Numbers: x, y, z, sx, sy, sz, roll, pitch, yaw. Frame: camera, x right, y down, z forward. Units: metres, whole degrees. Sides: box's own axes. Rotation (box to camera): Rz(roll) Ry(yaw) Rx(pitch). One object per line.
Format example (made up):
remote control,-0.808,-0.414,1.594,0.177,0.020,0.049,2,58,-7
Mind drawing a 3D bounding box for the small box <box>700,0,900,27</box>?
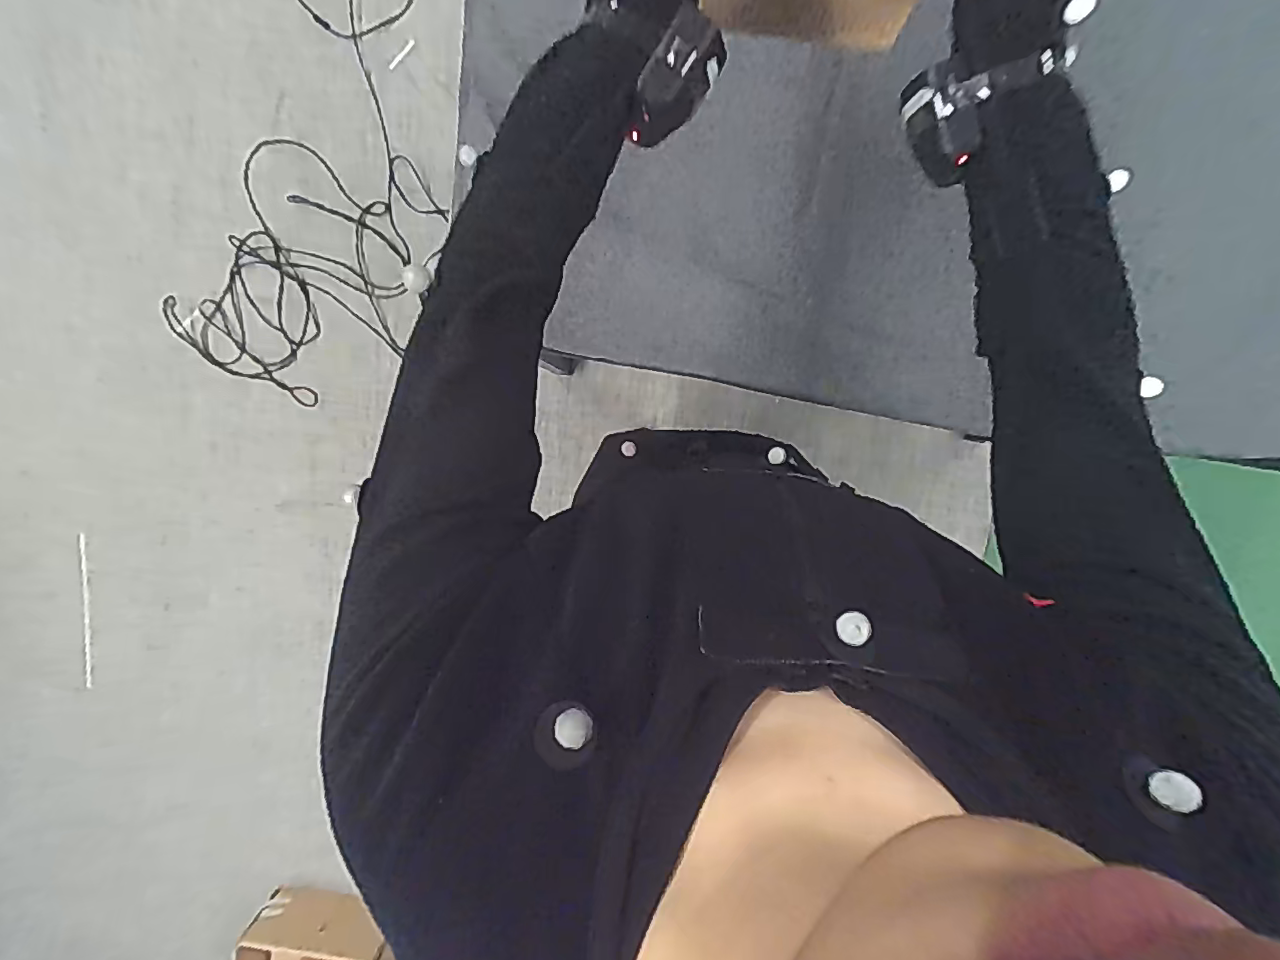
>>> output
small box,0.135,-0.466,0.375,0.179,0.176,0.168,5,86,-2
